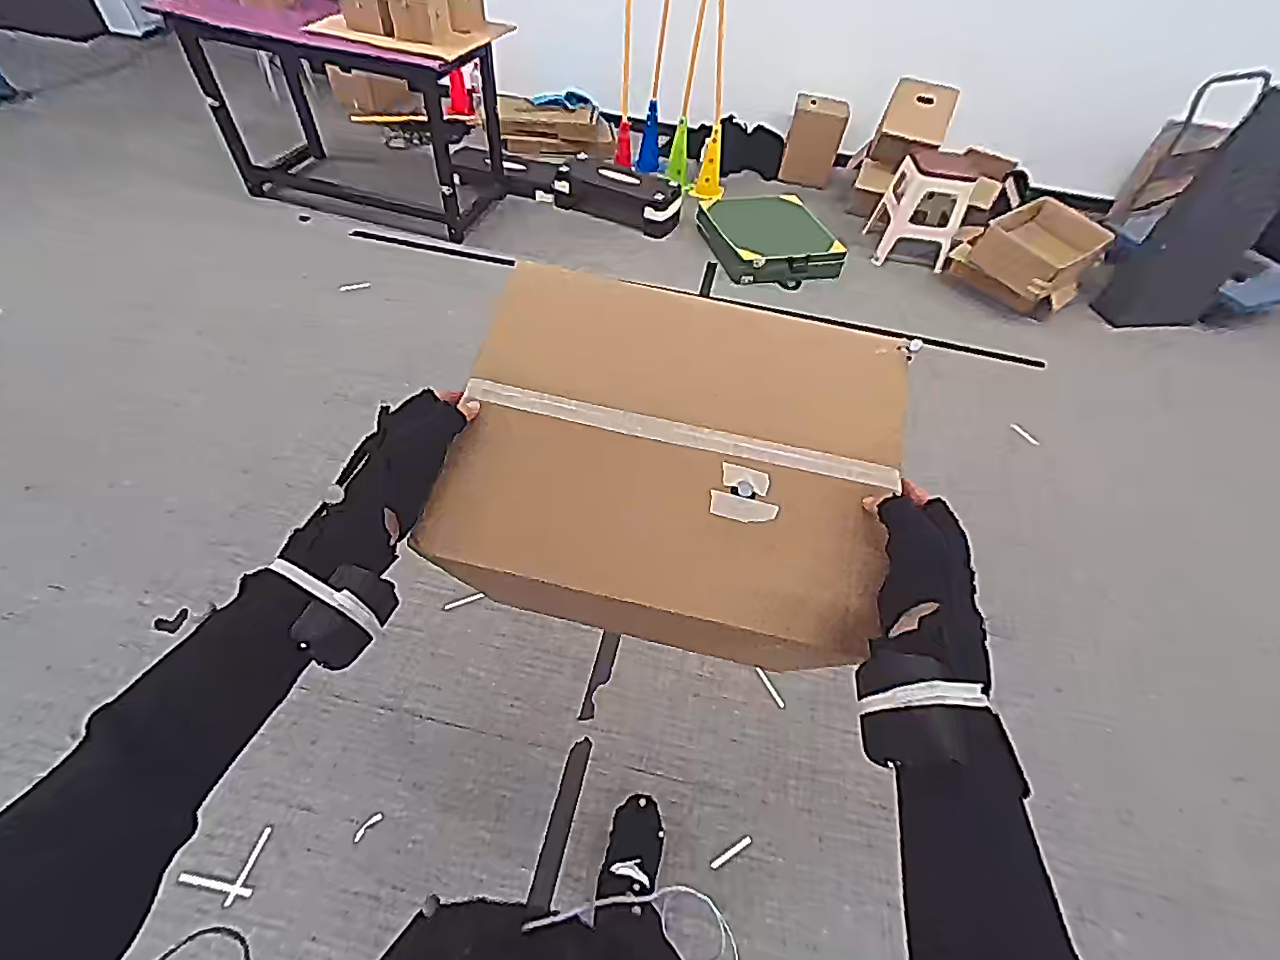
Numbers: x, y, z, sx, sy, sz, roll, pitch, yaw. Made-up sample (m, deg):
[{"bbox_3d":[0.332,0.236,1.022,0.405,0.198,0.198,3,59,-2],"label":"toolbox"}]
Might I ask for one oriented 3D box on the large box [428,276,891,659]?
[{"bbox_3d":[0.030,0.012,0.654,0.408,0.320,0.320,13,70,2],"label":"large box"}]
